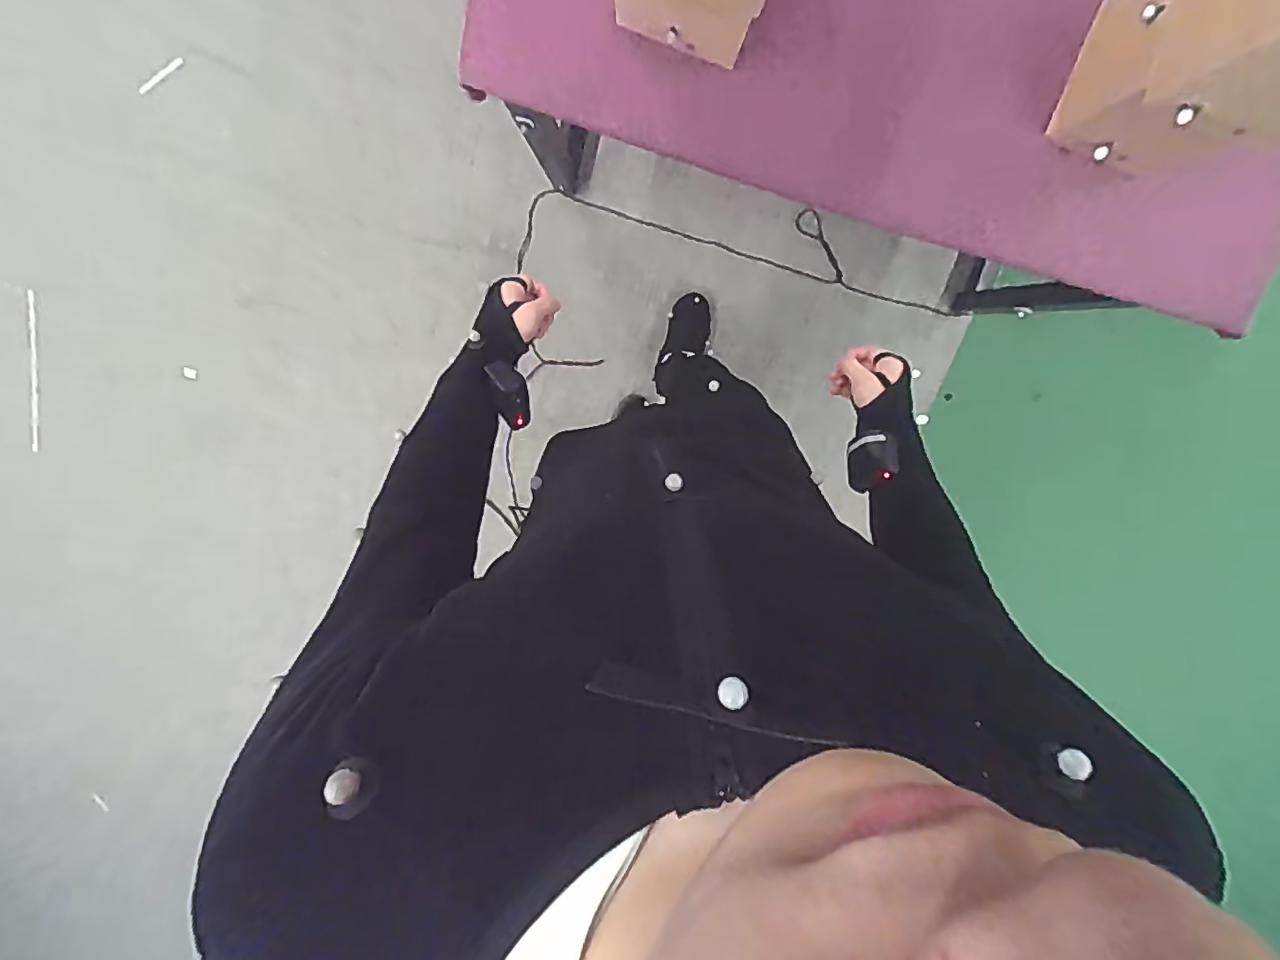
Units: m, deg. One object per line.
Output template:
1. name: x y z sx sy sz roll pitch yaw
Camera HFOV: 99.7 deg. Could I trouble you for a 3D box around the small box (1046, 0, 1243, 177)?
1. small box: 0.654 -0.507 0.660 0.168 0.176 0.179 18 105 -4
